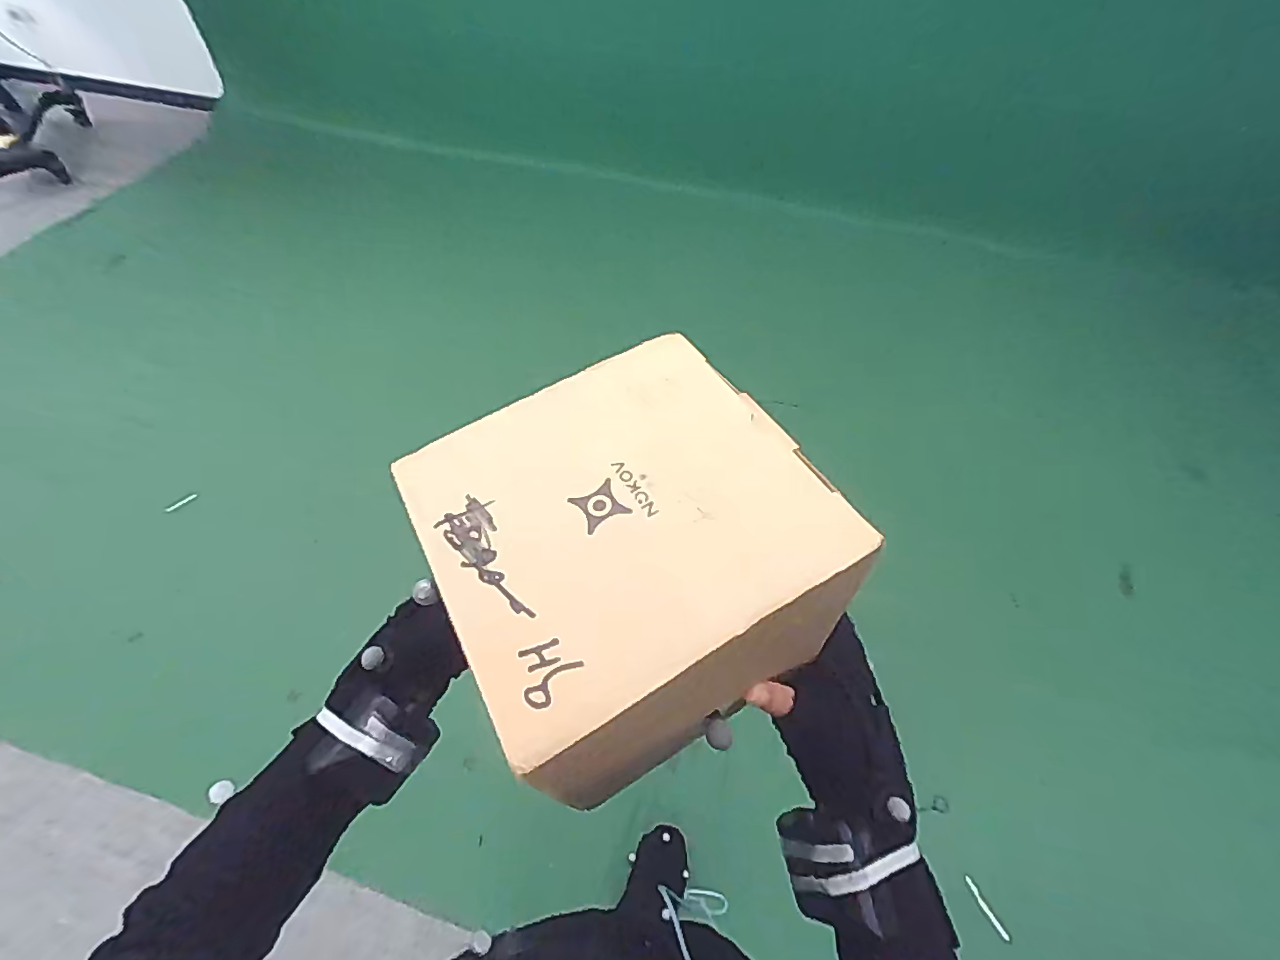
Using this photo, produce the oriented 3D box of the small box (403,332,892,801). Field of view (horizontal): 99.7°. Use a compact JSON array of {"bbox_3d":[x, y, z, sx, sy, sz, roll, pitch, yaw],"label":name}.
[{"bbox_3d":[-0.001,0.053,0.314,0.179,0.176,0.168,-28,56,-15],"label":"small box"}]
